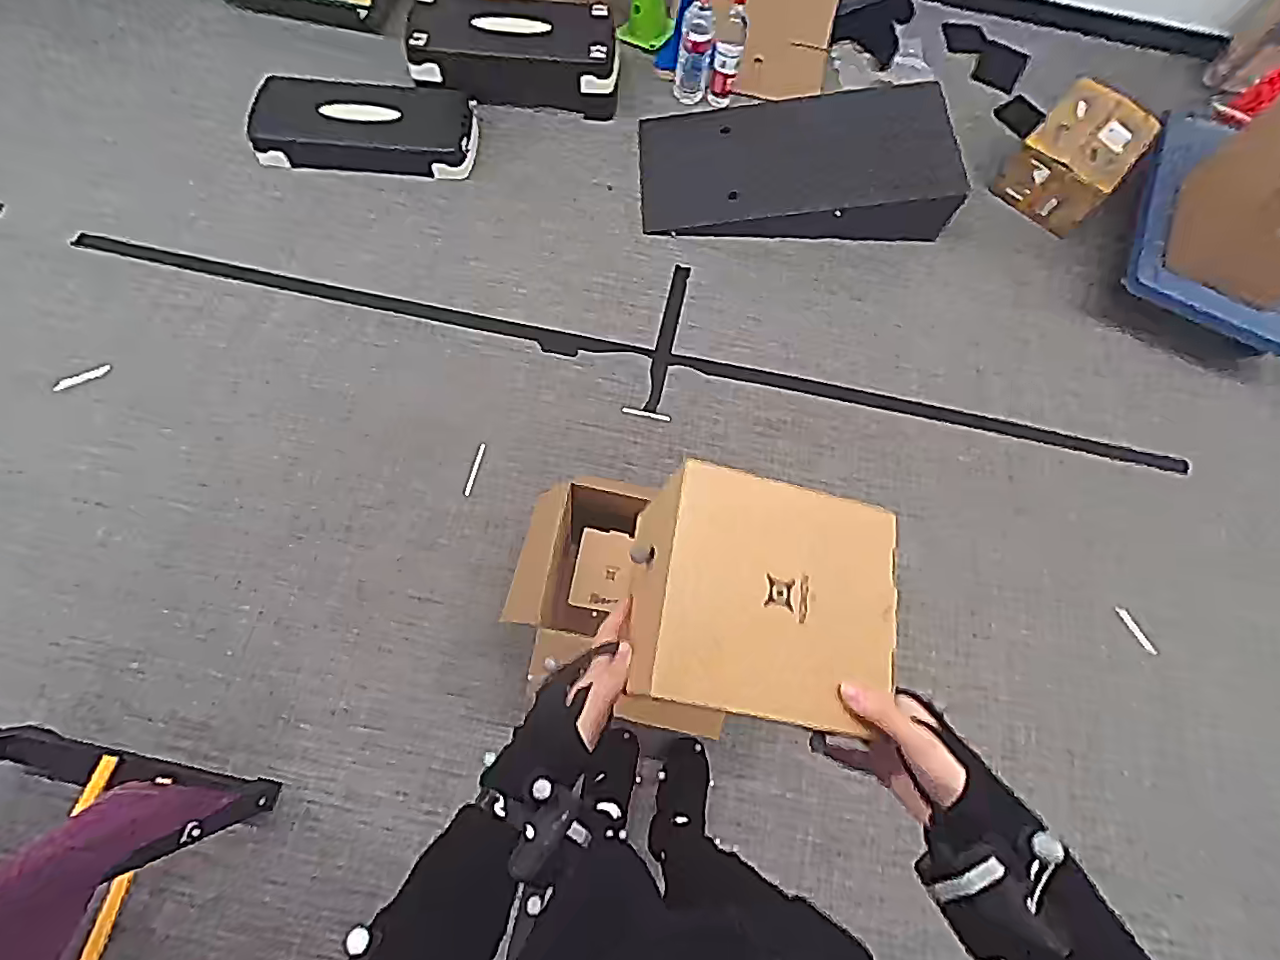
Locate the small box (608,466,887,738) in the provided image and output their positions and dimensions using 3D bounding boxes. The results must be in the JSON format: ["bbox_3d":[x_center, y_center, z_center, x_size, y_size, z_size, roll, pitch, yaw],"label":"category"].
[{"bbox_3d":[0.080,0.110,0.459,0.179,0.176,0.168,15,68,-10],"label":"small box"}]
